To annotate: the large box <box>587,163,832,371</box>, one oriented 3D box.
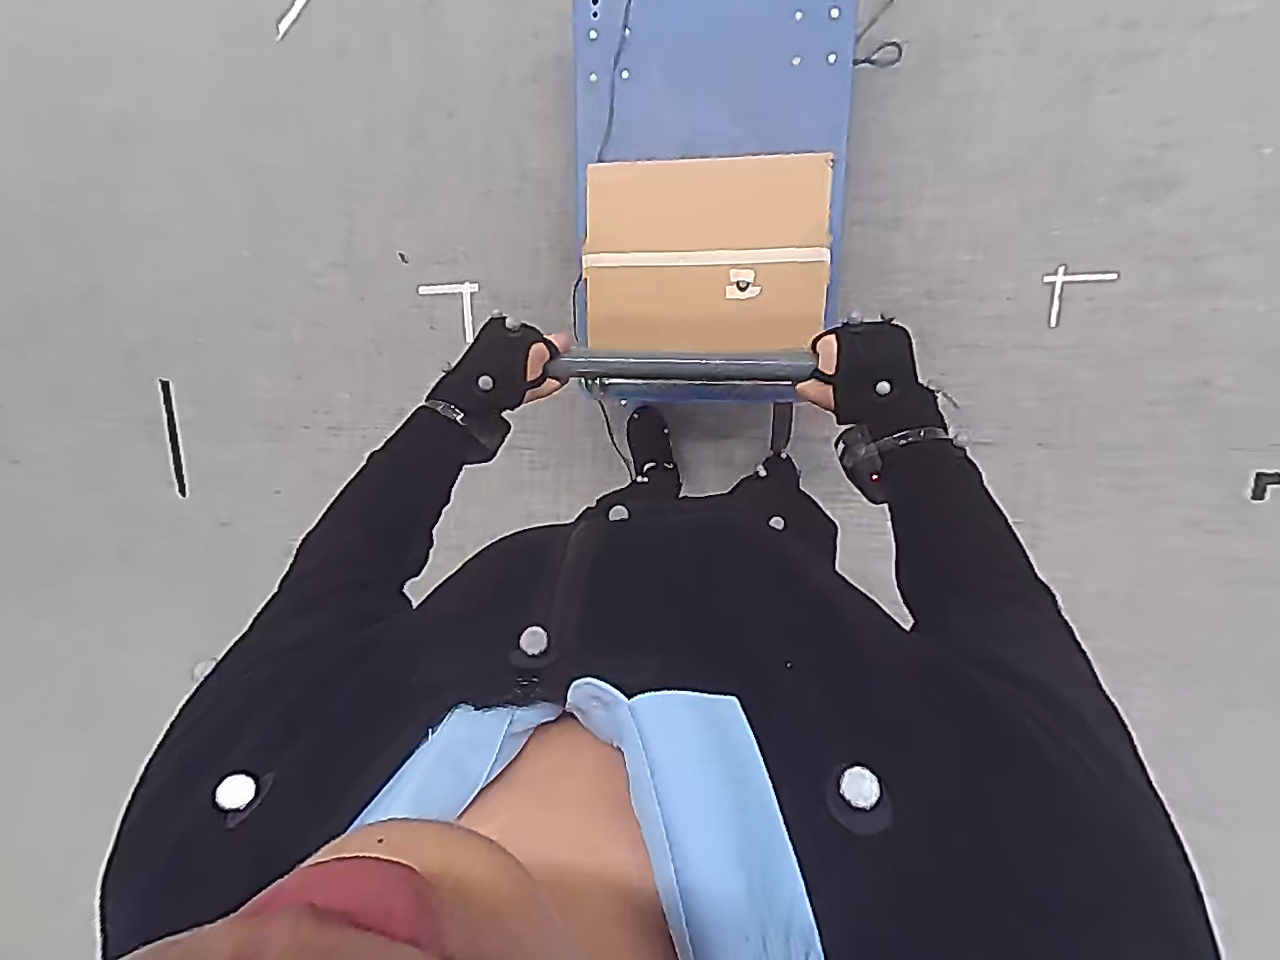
[{"bbox_3d":[0.125,-0.377,1.048,0.408,0.320,0.320,2,100,7],"label":"large box"}]
